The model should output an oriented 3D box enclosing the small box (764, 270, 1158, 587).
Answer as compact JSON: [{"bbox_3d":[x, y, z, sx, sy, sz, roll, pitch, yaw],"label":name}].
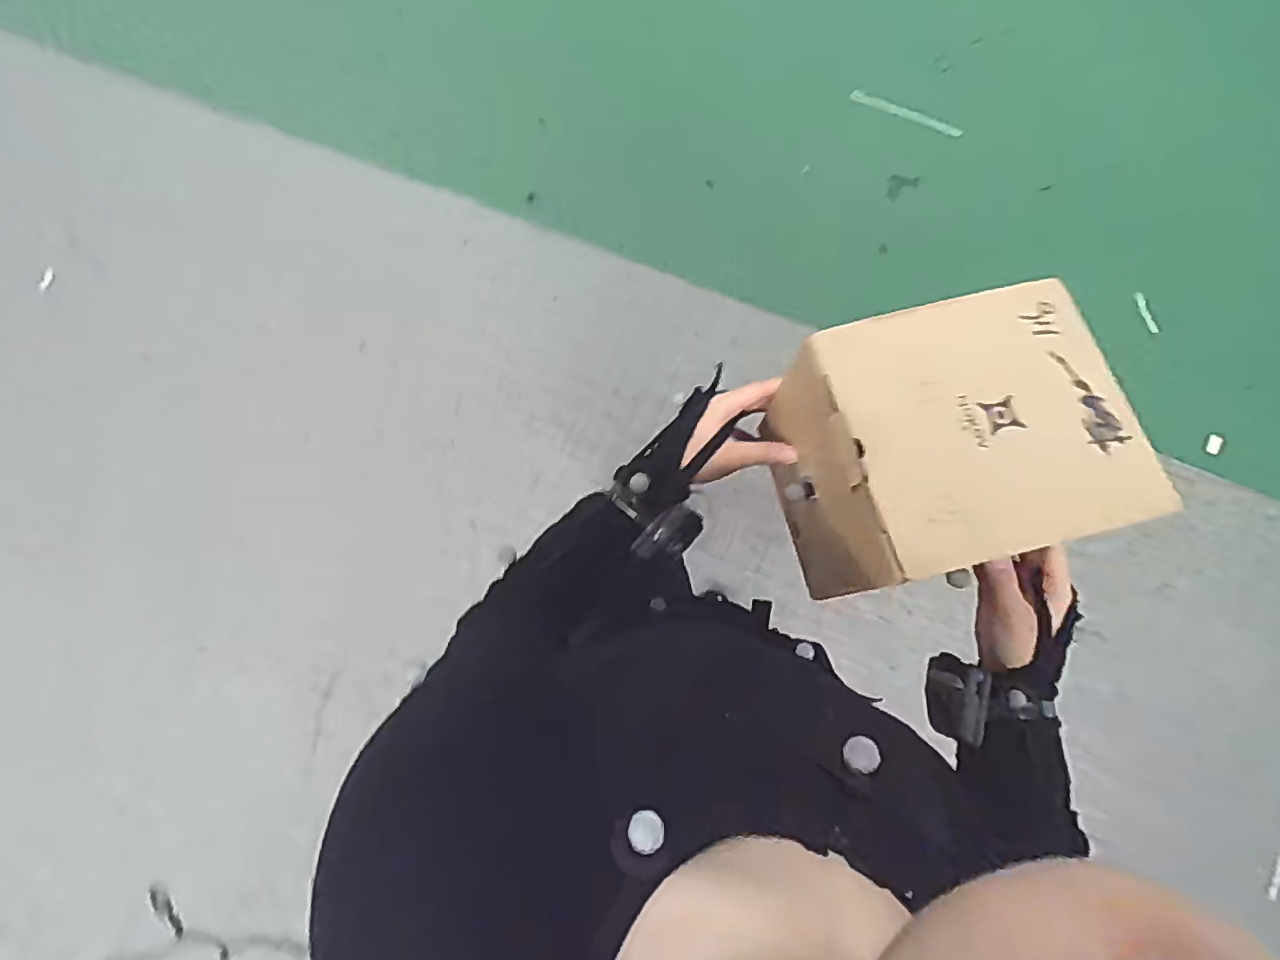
[{"bbox_3d":[0.204,-0.022,0.412,0.179,0.176,0.168,-14,74,-3],"label":"small box"}]
